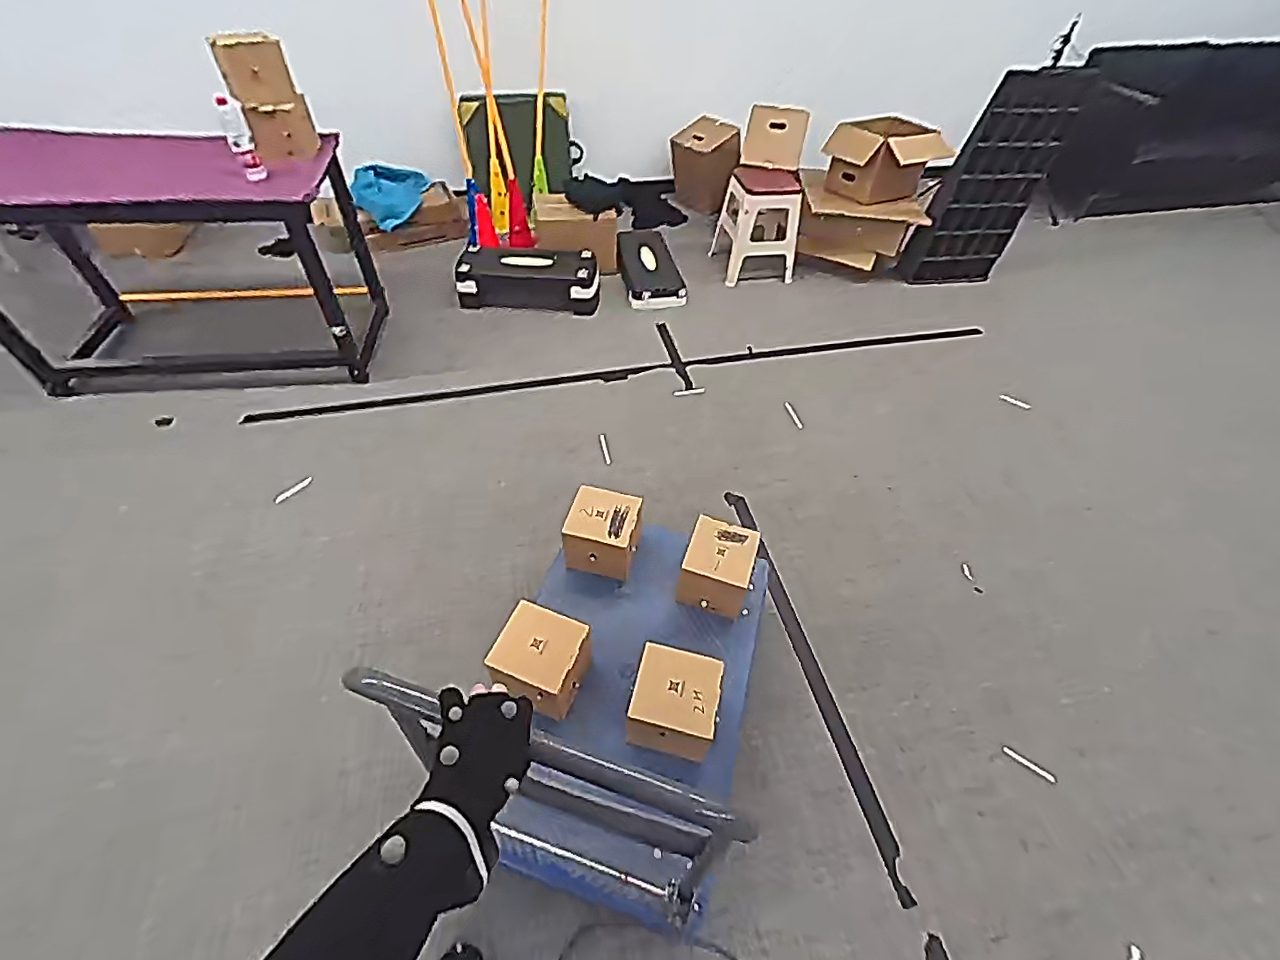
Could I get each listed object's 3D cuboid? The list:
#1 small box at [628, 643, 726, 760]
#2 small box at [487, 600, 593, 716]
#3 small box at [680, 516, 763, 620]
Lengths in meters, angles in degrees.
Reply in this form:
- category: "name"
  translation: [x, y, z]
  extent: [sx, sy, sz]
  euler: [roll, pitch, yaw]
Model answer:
- category: "small box"
  translation: [0.077, 0.483, 1.174]
  extent: [0.179, 0.176, 0.168]
  euler: [13, 49, 8]
- category: "small box"
  translation: [-0.219, 0.407, 1.226]
  extent: [0.179, 0.176, 0.168]
  euler: [19, 50, 11]
- category: "small box"
  translation: [0.207, 0.230, 1.406]
  extent: [0.168, 0.176, 0.179]
  euler: [17, 51, 11]
